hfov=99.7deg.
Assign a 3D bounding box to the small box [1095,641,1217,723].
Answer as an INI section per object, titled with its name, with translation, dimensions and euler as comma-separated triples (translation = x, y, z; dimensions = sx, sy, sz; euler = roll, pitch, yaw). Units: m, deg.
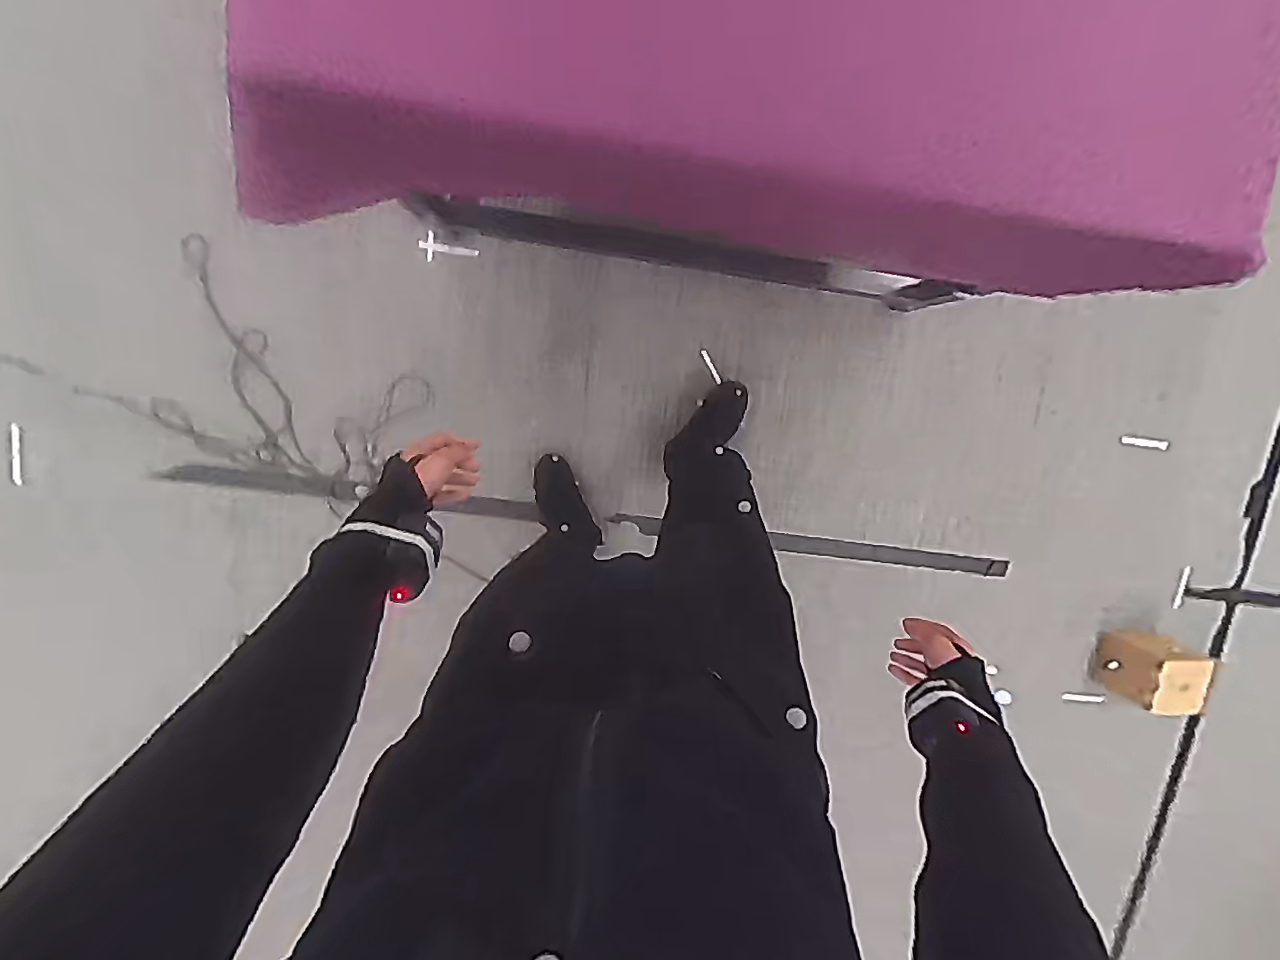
[small box]
translation = 1.497, 0.583, 1.579
dimensions = 0.179, 0.176, 0.168
euler = 4, 100, -6
